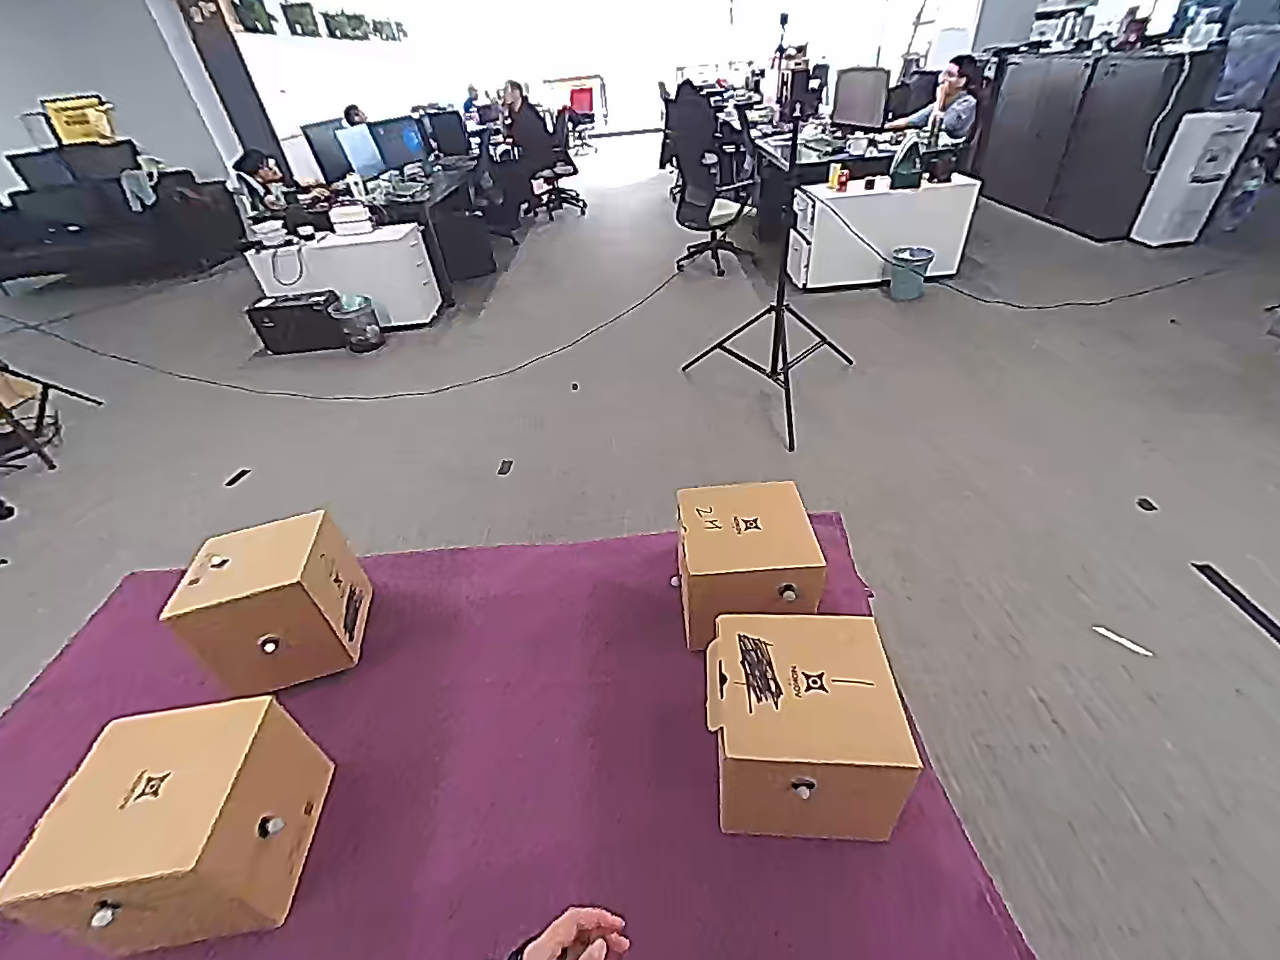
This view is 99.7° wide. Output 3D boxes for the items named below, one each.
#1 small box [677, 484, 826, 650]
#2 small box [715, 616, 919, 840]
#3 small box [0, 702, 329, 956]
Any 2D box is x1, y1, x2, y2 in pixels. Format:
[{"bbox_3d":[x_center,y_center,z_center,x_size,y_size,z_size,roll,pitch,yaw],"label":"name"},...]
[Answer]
[{"bbox_3d":[0.147,0.125,0.777,0.179,0.176,0.168,-5,39,1],"label":"small box"},{"bbox_3d":[0.174,0.269,0.592,0.179,0.176,0.168,-1,37,6],"label":"small box"},{"bbox_3d":[-0.465,0.362,0.566,0.179,0.176,0.168,-8,37,-3],"label":"small box"}]
